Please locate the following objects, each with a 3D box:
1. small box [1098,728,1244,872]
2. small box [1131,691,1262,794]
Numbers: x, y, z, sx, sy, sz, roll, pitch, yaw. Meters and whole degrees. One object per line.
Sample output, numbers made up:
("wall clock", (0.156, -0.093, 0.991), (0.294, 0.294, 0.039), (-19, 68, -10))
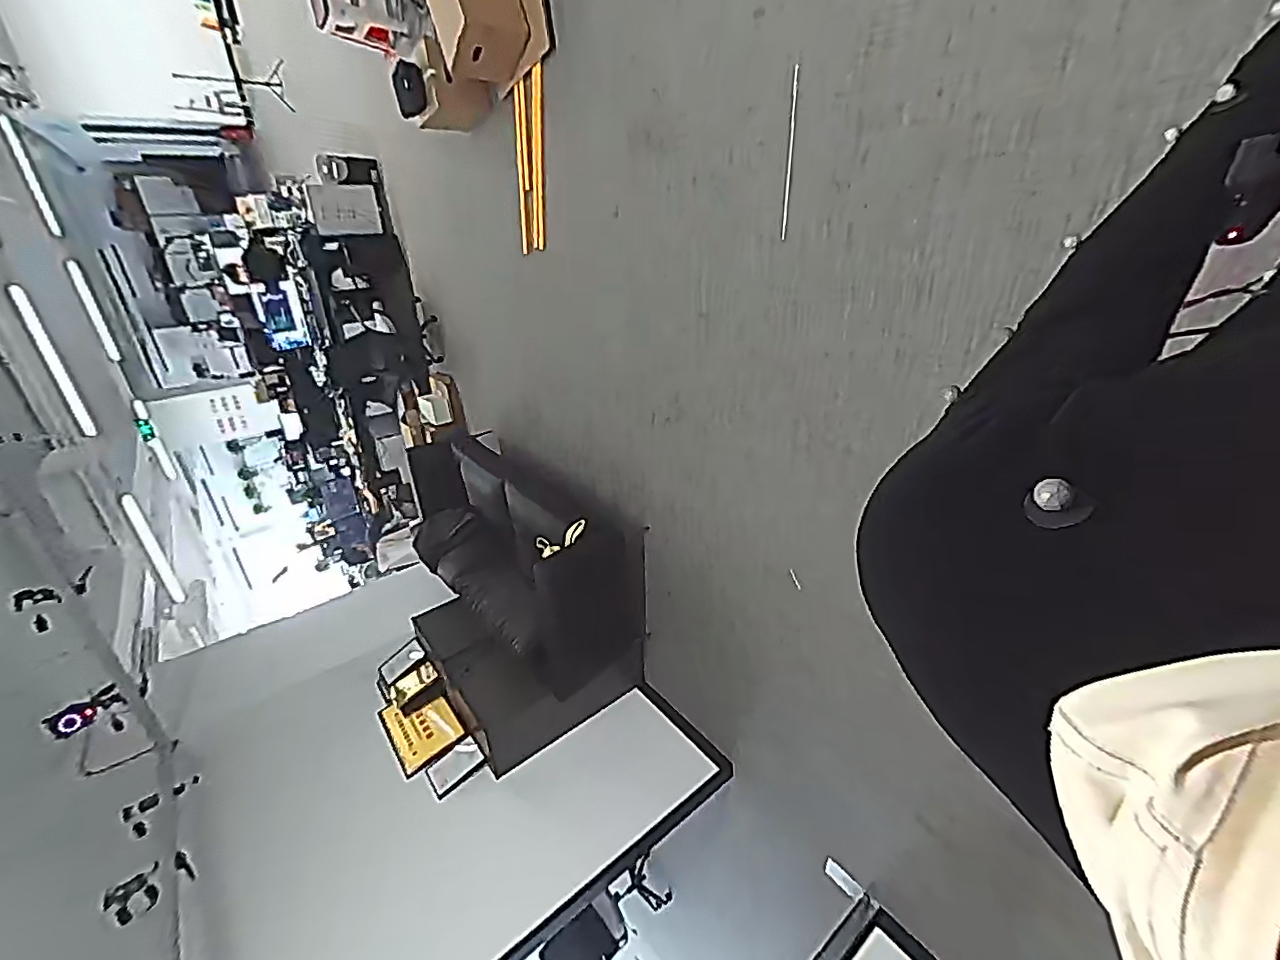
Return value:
("small box", (1.150, 0.683, 1.172), (0.168, 0.176, 0.179), (33, 134, 41))
("small box", (1.283, 0.635, 1.255), (0.168, 0.176, 0.179), (33, 133, 41))
